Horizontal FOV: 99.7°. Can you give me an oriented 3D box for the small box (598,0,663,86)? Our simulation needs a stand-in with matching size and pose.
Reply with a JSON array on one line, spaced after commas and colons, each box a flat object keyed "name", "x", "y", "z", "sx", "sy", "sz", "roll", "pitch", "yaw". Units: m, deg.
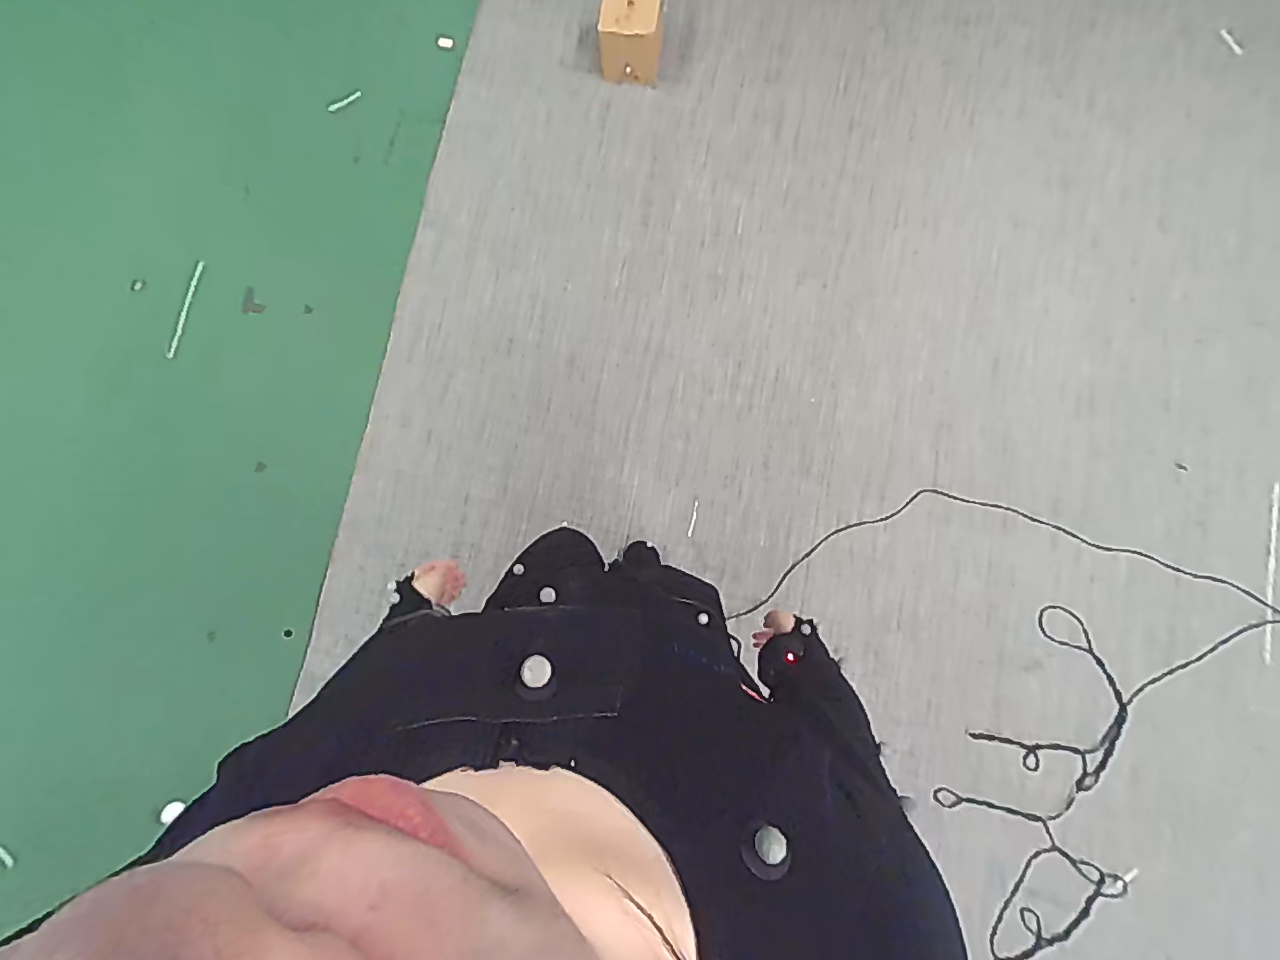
[{"name": "small box", "x": -0.025, "y": -1.324, "z": 1.606, "sx": 0.168, "sy": 0.176, "sz": 0.179, "roll": 7, "pitch": 83, "yaw": 4}]
